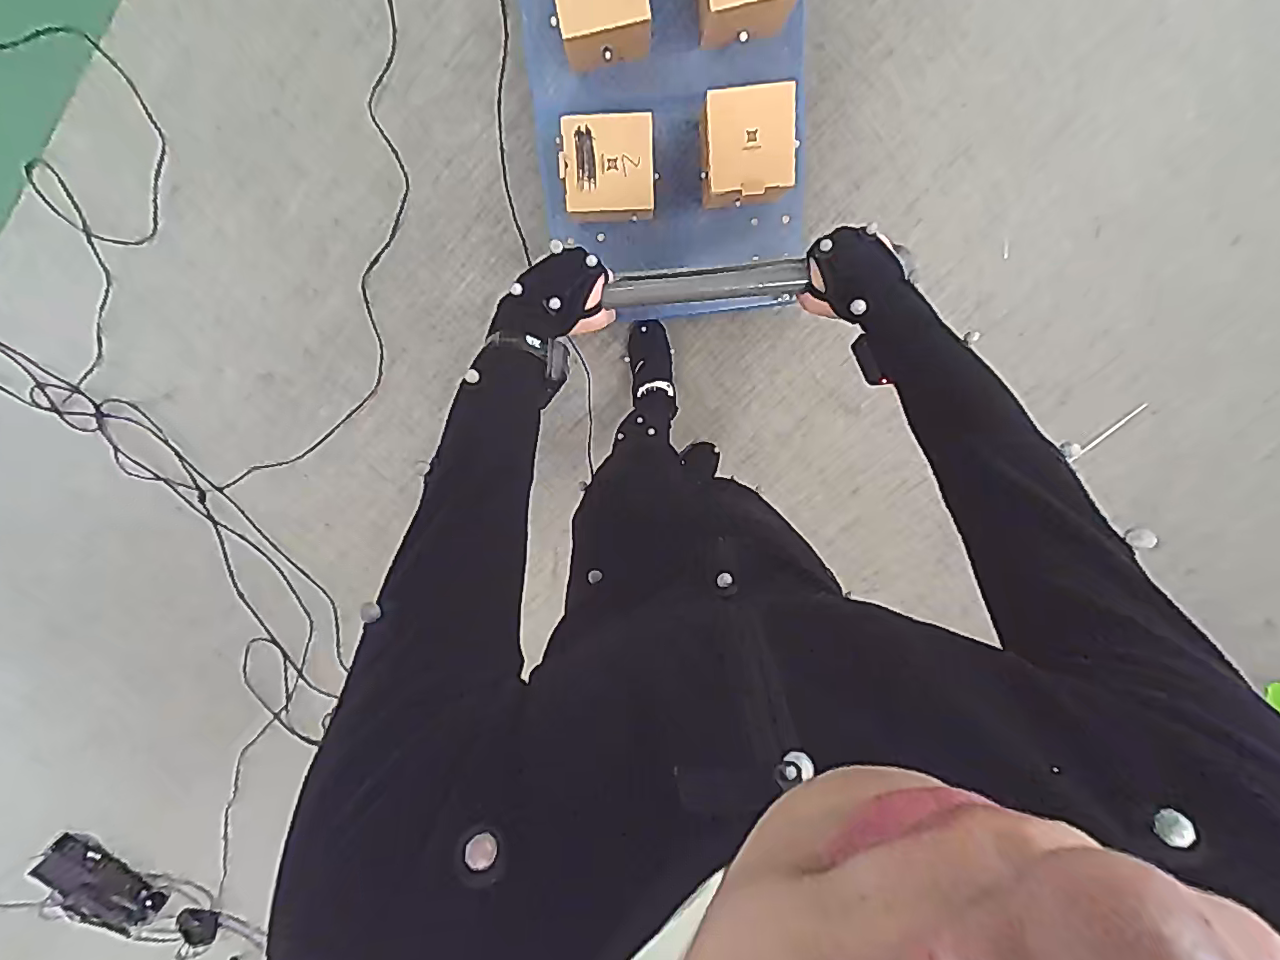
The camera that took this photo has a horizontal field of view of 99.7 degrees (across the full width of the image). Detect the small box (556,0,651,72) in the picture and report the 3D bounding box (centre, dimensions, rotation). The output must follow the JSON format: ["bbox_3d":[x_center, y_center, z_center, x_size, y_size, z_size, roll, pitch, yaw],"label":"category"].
[{"bbox_3d":[-0.072,-0.906,1.020,0.168,0.176,0.179,-10,109,3],"label":"small box"}]

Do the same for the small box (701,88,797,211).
[{"bbox_3d":[0.216,-0.663,1.103,0.168,0.176,0.179,-5,109,2],"label":"small box"}]

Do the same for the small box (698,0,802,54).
[{"bbox_3d":[0.195,-0.942,1.006,0.168,0.176,0.179,-9,110,4],"label":"small box"}]
